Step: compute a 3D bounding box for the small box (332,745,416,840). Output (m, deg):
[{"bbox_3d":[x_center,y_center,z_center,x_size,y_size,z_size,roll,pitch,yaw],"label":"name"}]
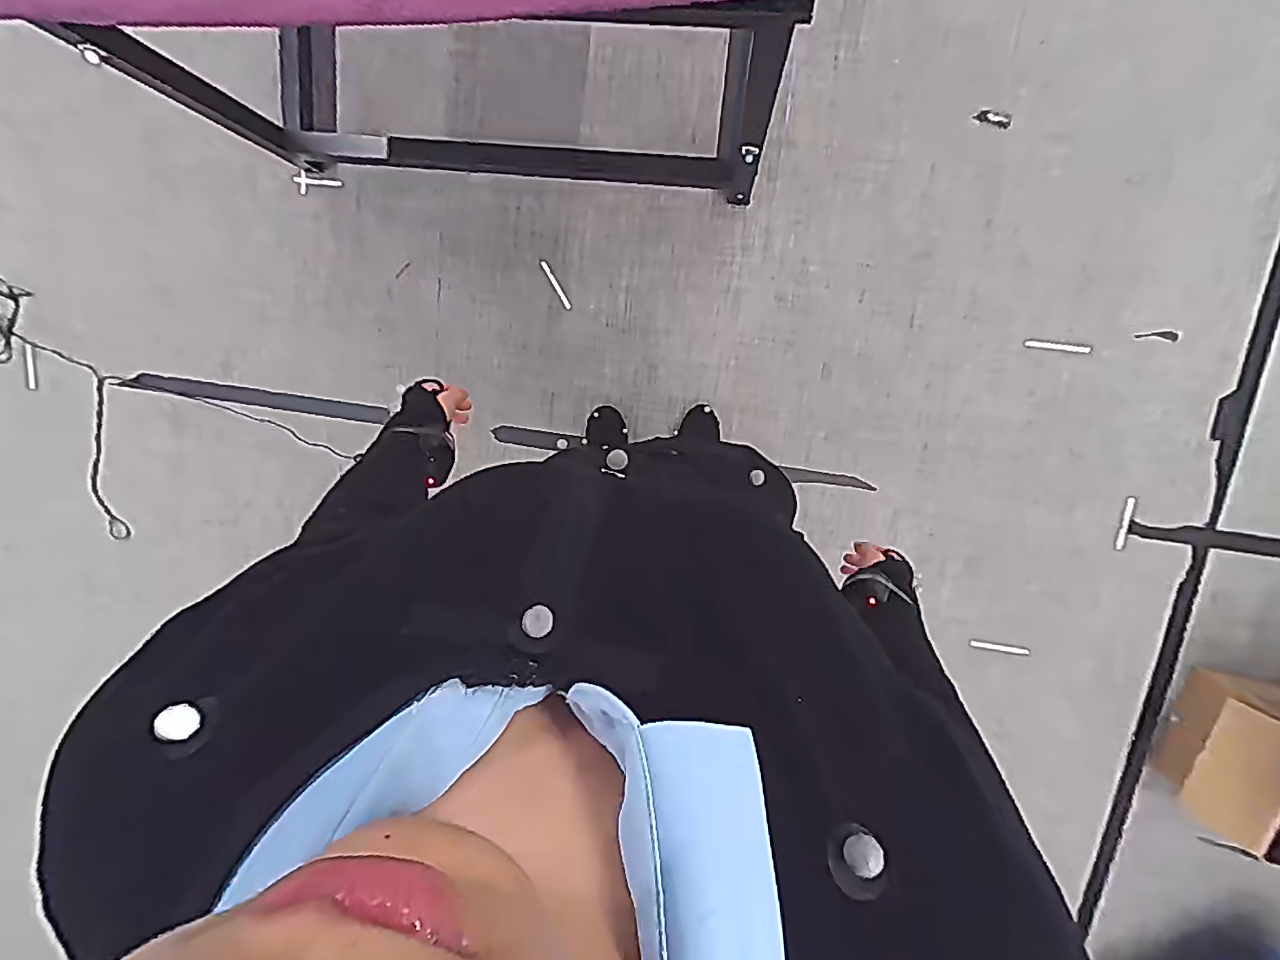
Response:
[{"bbox_3d":[-0.787,0.921,1.609,0.168,0.176,0.179,6,100,5],"label":"small box"}]
